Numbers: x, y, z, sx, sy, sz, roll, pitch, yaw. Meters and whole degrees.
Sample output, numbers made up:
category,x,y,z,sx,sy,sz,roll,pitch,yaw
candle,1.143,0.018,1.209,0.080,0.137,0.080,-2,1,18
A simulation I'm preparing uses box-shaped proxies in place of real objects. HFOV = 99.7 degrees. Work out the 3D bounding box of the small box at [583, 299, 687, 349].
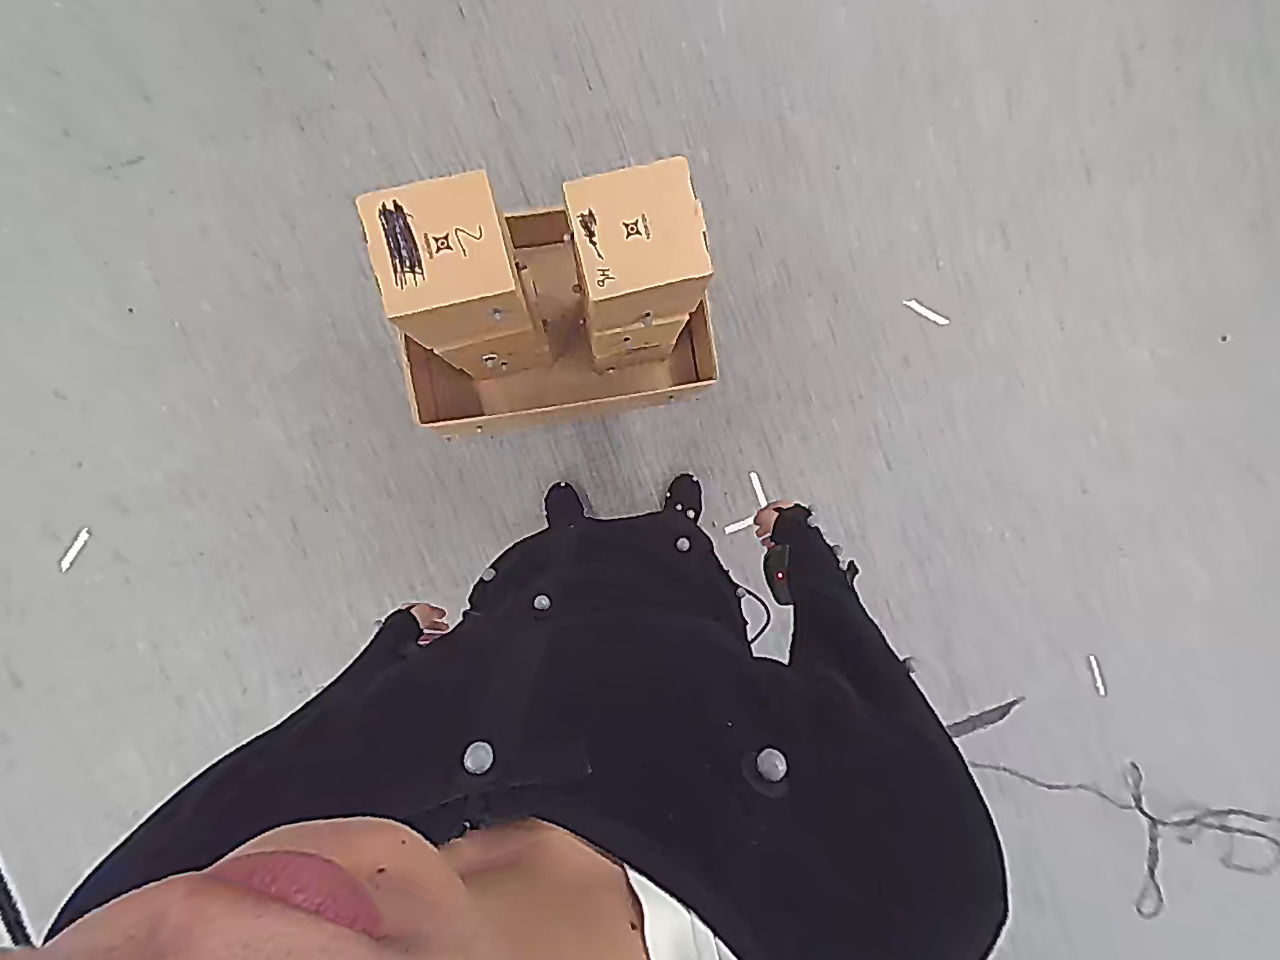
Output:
category,x,y,z,sx,sy,sz,roll,pitch,yaw
small box,-0.020,-0.343,0.972,0.168,0.176,0.179,-12,92,-3

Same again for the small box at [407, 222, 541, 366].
category,x,y,z,sx,sy,sz,roll,pitch,yaw
small box,-0.281,-0.316,0.950,0.168,0.176,0.179,-15,93,-3

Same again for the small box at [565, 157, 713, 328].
category,x,y,z,sx,sy,sz,roll,pitch,yaw
small box,-0.007,-0.342,0.808,0.179,0.176,0.168,-14,91,-4

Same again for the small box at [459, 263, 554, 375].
category,x,y,z,sx,sy,sz,roll,pitch,yaw
small box,-0.285,-0.321,1.114,0.179,0.176,0.168,-13,93,-5
